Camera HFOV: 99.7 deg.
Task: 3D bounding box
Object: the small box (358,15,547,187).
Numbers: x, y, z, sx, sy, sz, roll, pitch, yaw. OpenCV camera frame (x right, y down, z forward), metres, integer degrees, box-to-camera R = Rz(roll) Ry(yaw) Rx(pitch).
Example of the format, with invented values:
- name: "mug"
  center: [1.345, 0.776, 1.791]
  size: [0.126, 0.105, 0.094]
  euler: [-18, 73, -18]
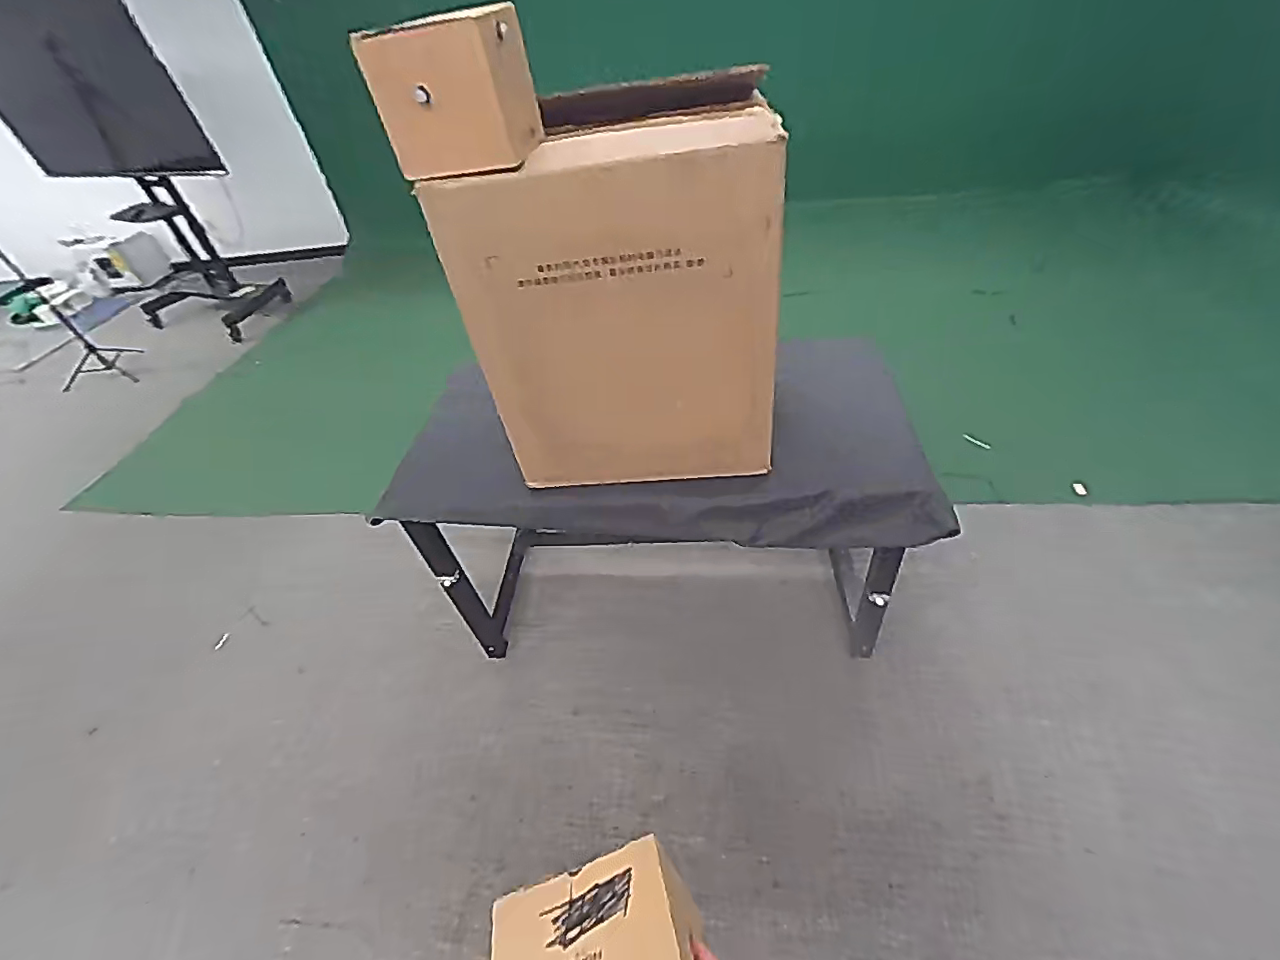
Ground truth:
- name: "small box"
  center: [-0.255, -0.543, 0.783]
  size: [0.179, 0.176, 0.168]
  euler: [-2, 45, 11]
